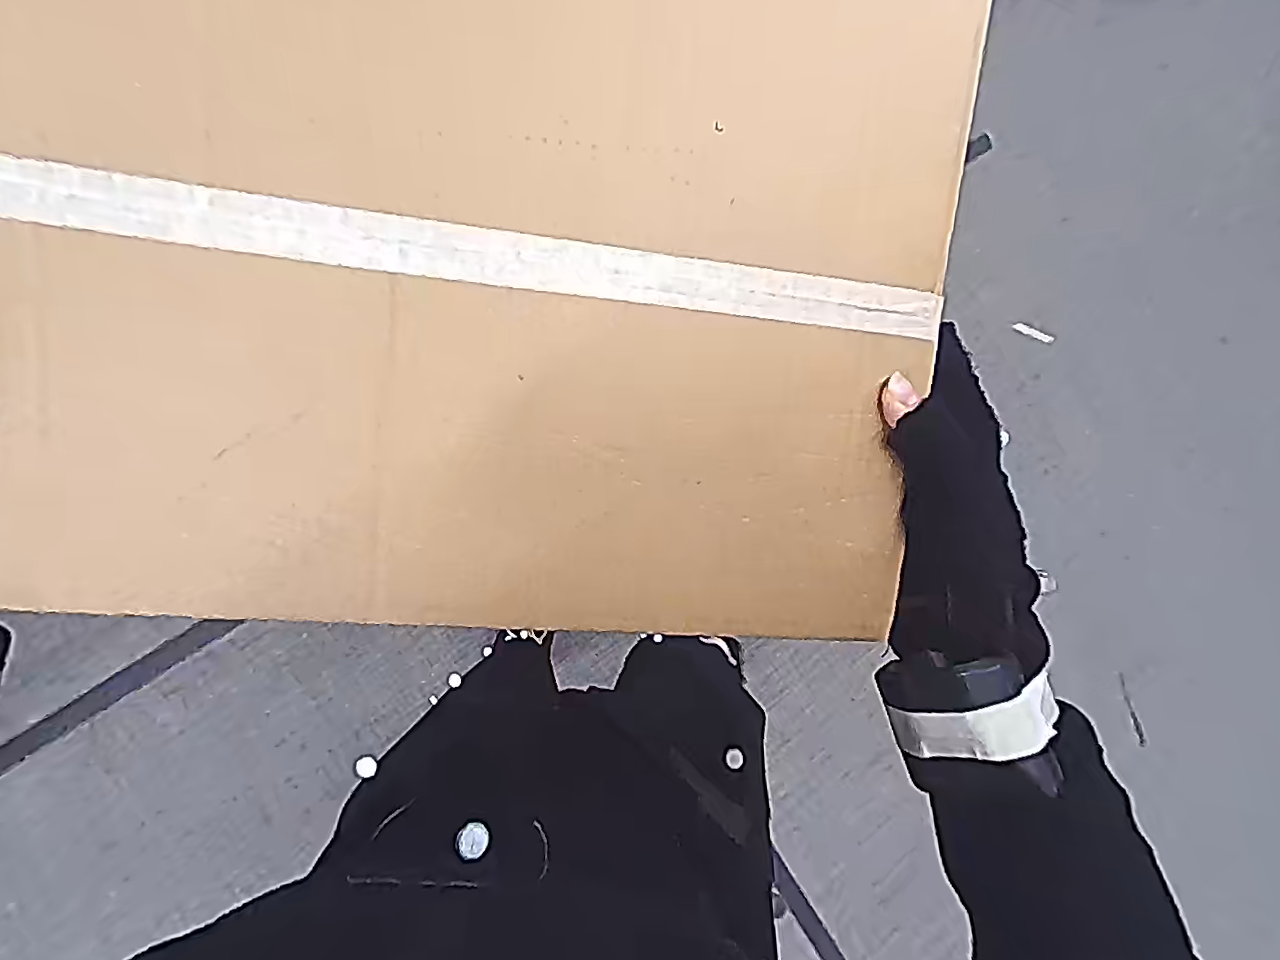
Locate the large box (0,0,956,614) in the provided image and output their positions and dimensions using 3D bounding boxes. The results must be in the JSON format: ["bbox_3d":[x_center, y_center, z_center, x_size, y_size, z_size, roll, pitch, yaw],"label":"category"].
[{"bbox_3d":[-0.087,-0.117,0.376,0.408,0.320,0.320,5,97,-10],"label":"large box"}]
